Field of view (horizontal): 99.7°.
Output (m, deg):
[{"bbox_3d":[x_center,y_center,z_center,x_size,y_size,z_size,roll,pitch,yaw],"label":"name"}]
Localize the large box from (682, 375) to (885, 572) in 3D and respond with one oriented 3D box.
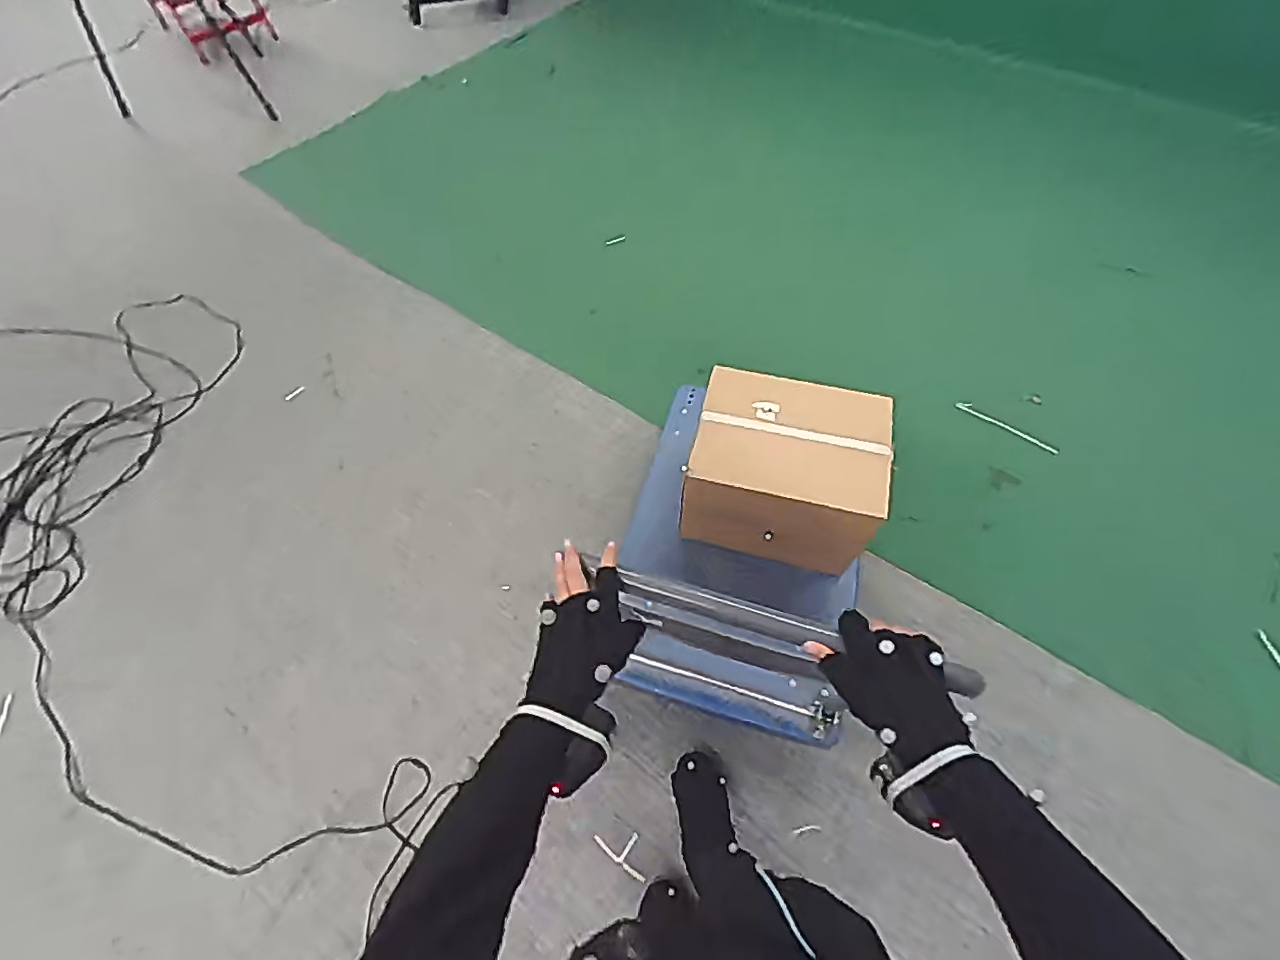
[{"bbox_3d":[0.328,-0.008,1.292,0.408,0.320,0.320,12,59,10],"label":"large box"}]
